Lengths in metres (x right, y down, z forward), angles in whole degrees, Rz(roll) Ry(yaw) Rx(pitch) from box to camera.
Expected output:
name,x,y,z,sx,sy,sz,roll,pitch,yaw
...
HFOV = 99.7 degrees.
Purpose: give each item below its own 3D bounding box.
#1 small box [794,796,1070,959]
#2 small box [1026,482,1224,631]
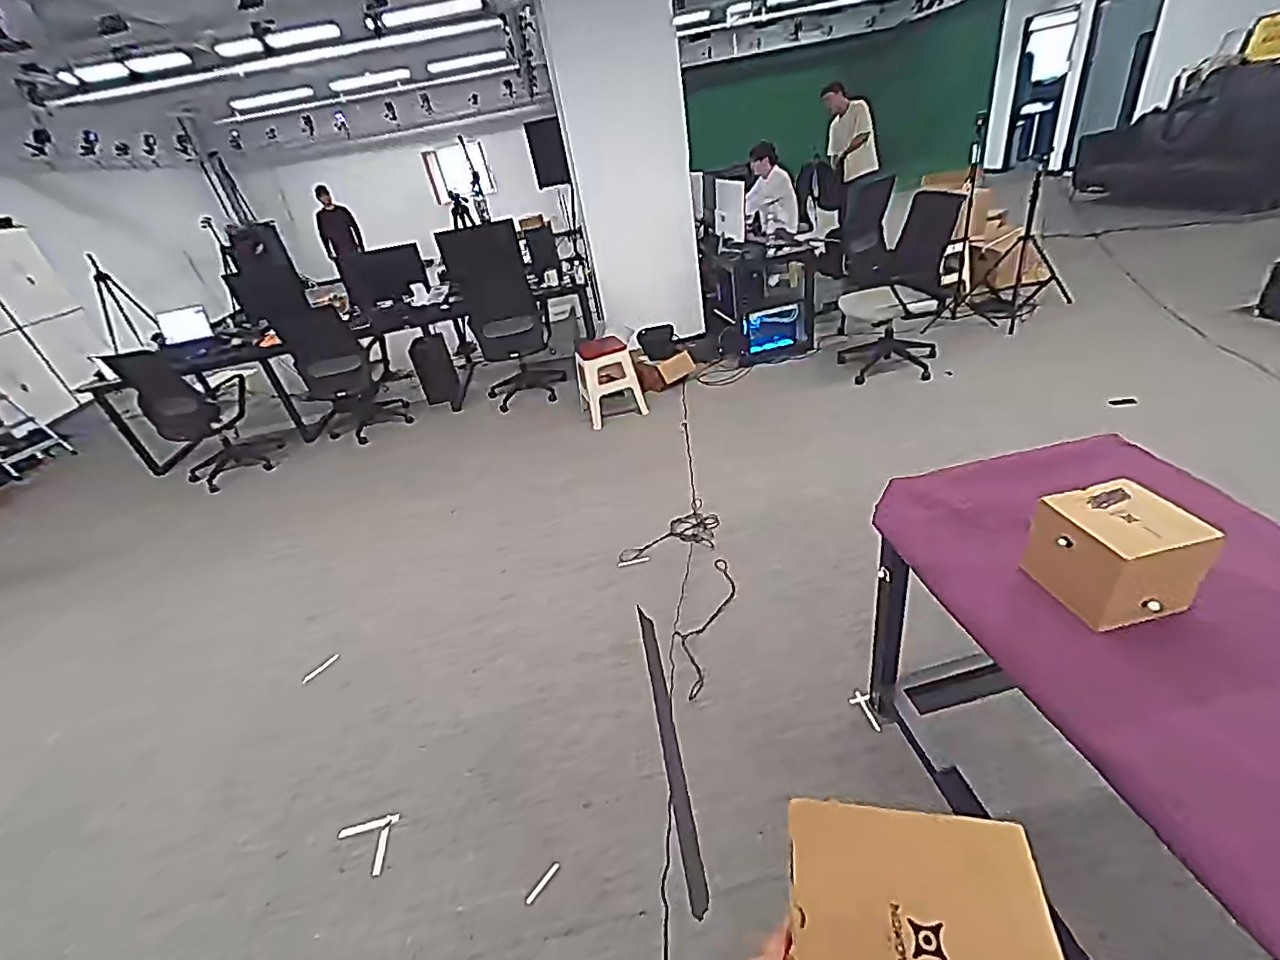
name,x,y,z,sx,sy,sz,roll,pitch,yaw
small box,0.215,0.379,0.426,0.179,0.176,0.168,-3,39,15
small box,0.817,0.130,0.938,0.168,0.176,0.179,-13,33,-2
